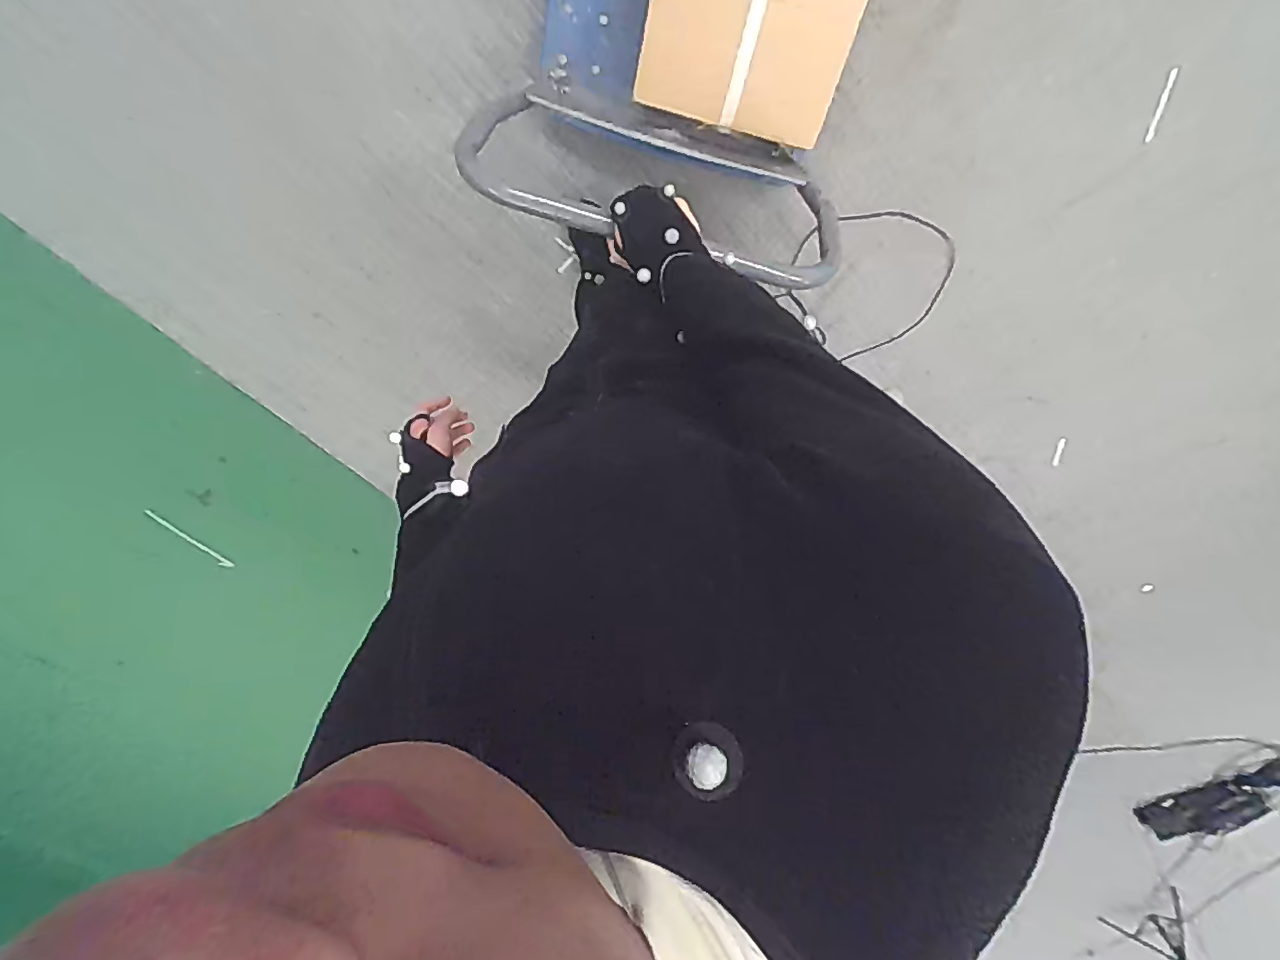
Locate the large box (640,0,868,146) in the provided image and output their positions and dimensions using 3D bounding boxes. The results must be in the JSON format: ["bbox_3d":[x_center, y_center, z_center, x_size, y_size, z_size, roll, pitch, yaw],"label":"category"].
[{"bbox_3d":[0.201,-0.831,0.900,0.320,0.320,0.408,13,126,-6],"label":"large box"}]
